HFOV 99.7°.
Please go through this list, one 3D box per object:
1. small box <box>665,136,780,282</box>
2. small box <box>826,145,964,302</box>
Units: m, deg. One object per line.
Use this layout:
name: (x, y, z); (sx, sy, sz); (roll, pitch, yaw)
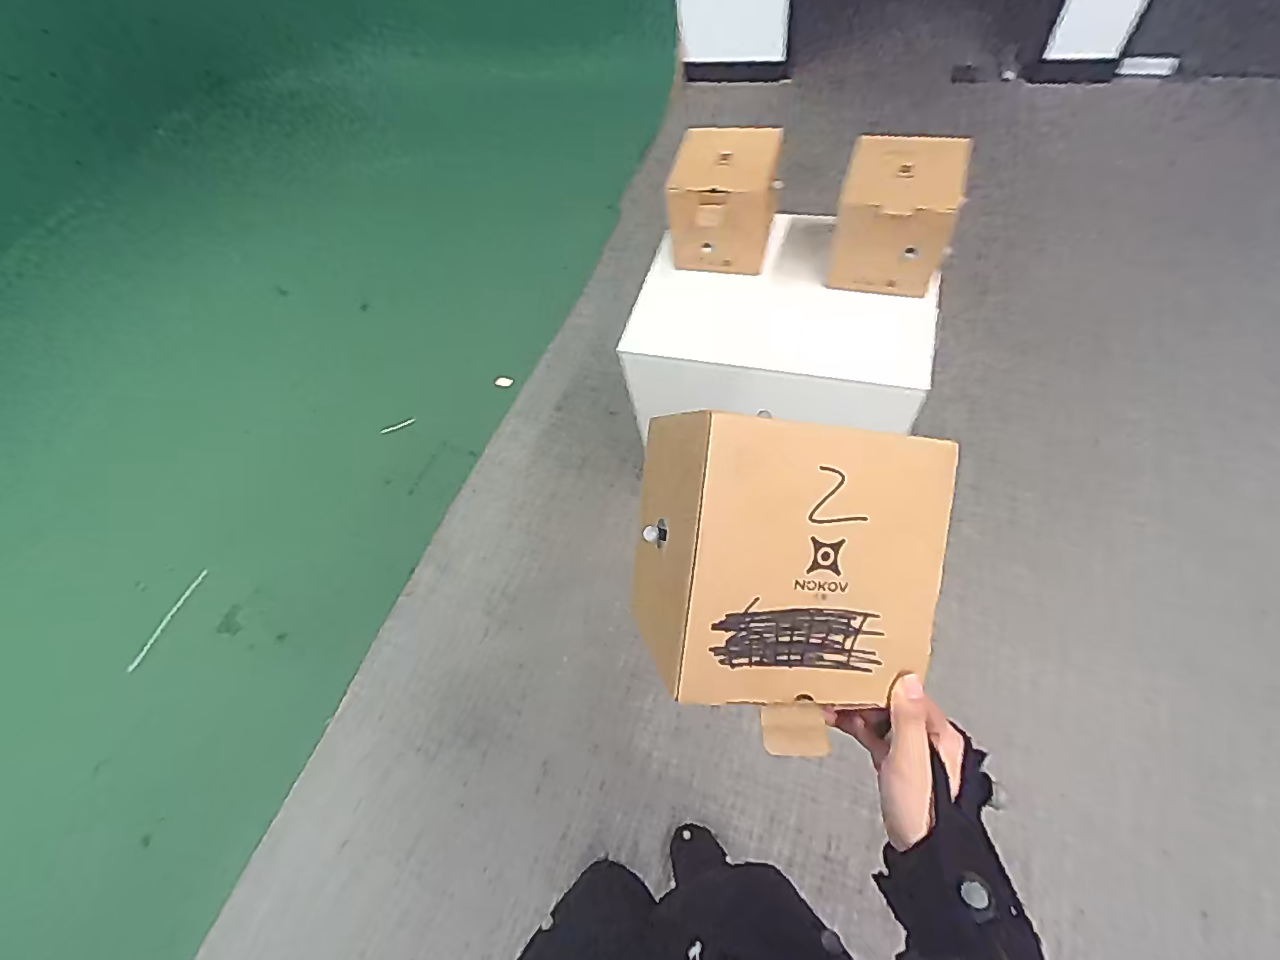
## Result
small box: (0.152, -0.492, 0.986); (0.168, 0.176, 0.179); (10, 64, 15)
small box: (0.413, -0.421, 0.897); (0.168, 0.176, 0.179); (13, 63, 17)
